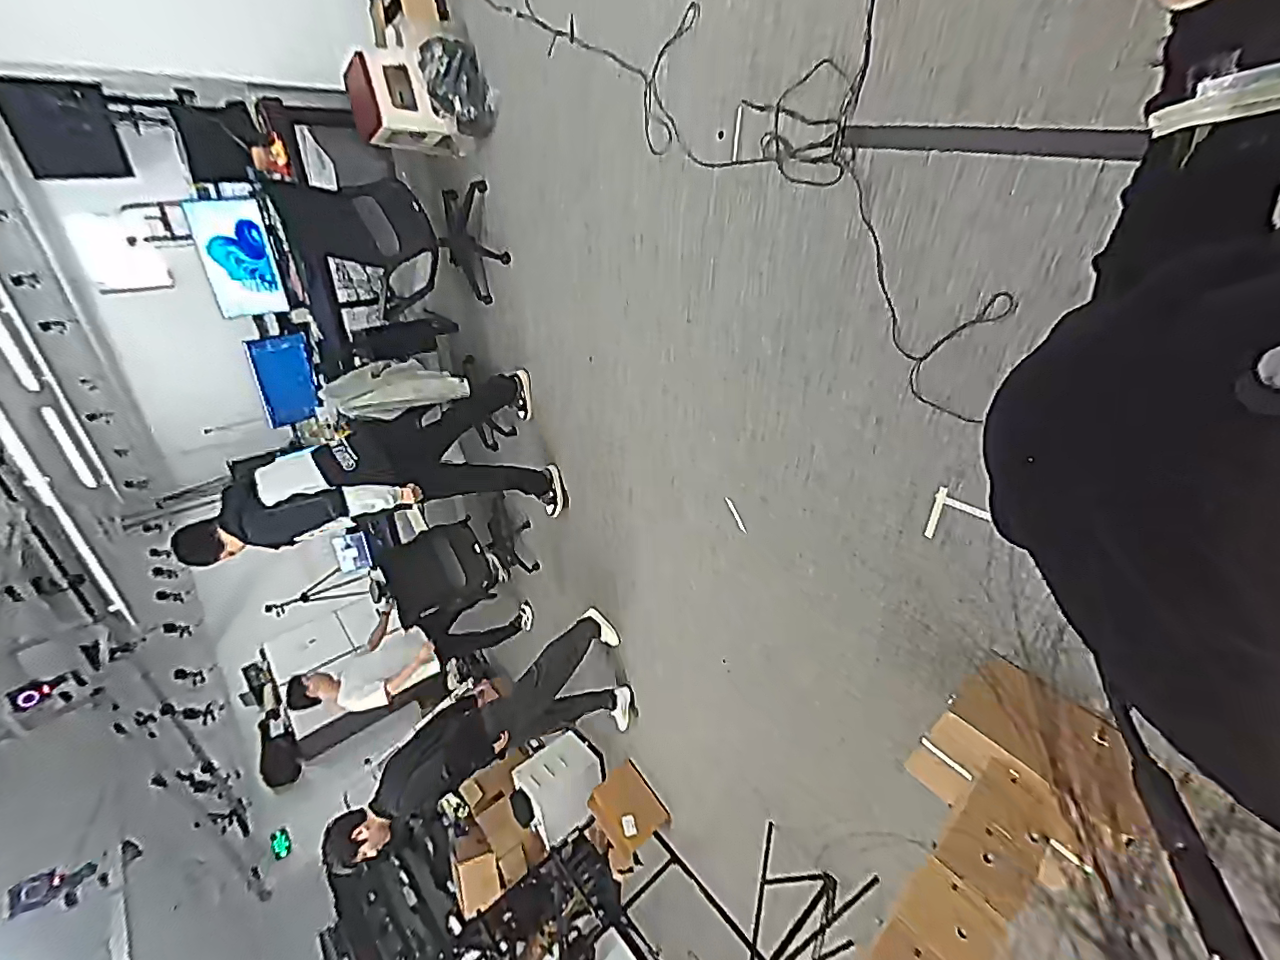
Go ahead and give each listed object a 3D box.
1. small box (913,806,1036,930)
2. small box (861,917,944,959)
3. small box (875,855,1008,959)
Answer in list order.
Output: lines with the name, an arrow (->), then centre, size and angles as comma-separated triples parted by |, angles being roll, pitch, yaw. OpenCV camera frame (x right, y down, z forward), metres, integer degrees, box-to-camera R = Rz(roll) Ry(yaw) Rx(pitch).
small box -> 0.751, 0.883, 1.217 | 0.168, 0.176, 0.179 | 37, 135, 35
small box -> 0.506, 0.995, 1.034 | 0.168, 0.176, 0.179 | 35, 137, 38
small box -> 0.628, 0.935, 1.124 | 0.168, 0.176, 0.179 | 34, 135, 37
